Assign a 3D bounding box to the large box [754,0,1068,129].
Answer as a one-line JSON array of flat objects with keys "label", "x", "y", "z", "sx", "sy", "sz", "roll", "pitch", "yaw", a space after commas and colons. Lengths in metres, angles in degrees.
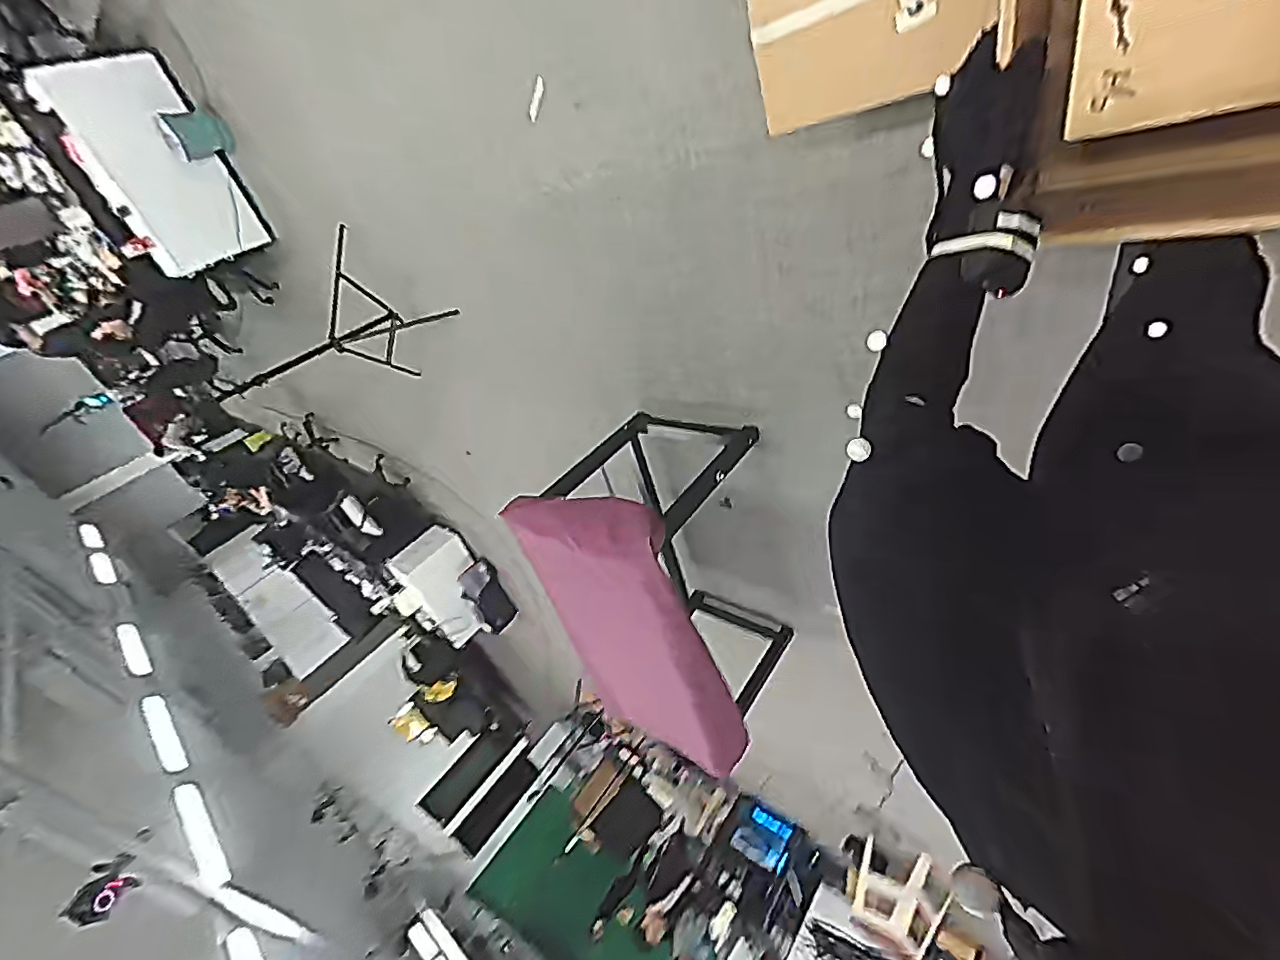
[{"label": "large box", "x": 0.440, "y": -0.842, "z": 0.889, "sx": 0.408, "sy": 0.320, "sz": 0.320, "roll": 11, "pitch": 135, "yaw": 42}]
